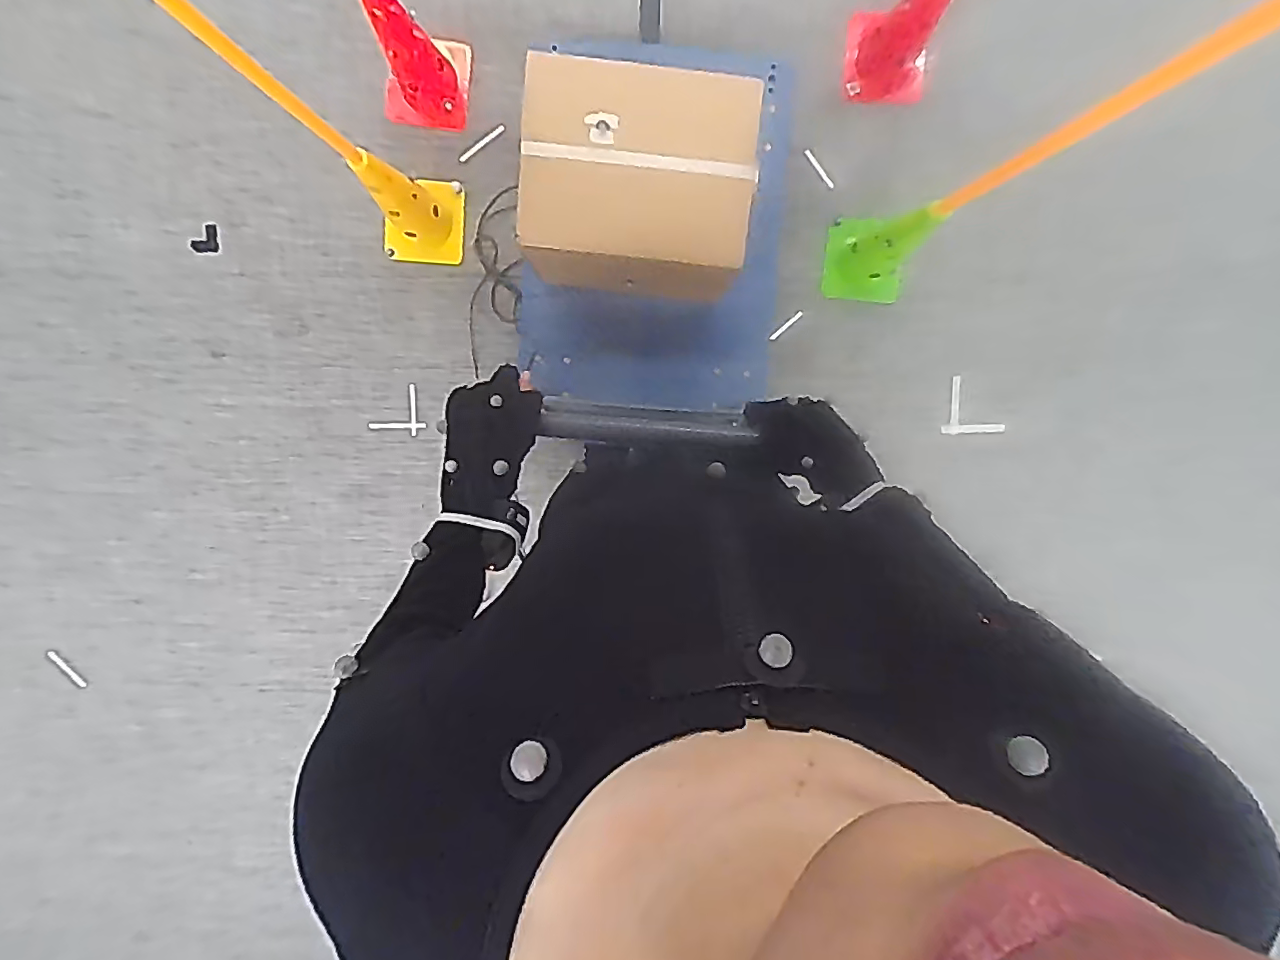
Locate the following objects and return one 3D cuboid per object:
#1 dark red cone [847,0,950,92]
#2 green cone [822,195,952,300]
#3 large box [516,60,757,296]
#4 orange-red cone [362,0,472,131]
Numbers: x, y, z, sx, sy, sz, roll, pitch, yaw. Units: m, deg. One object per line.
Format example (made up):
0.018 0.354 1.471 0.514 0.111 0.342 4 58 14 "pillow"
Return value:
0.611 -1.033 1.152 0.201 0.394 0.202 1 98 -2 "dark red cone"
0.582 -0.555 1.232 0.202 0.368 0.200 5 97 -2 "green cone"
-0.007 -0.566 1.082 0.408 0.320 0.320 6 97 -1 "large box"
-0.521 -0.967 1.175 0.198 0.360 0.199 8 96 -2 "orange-red cone"
